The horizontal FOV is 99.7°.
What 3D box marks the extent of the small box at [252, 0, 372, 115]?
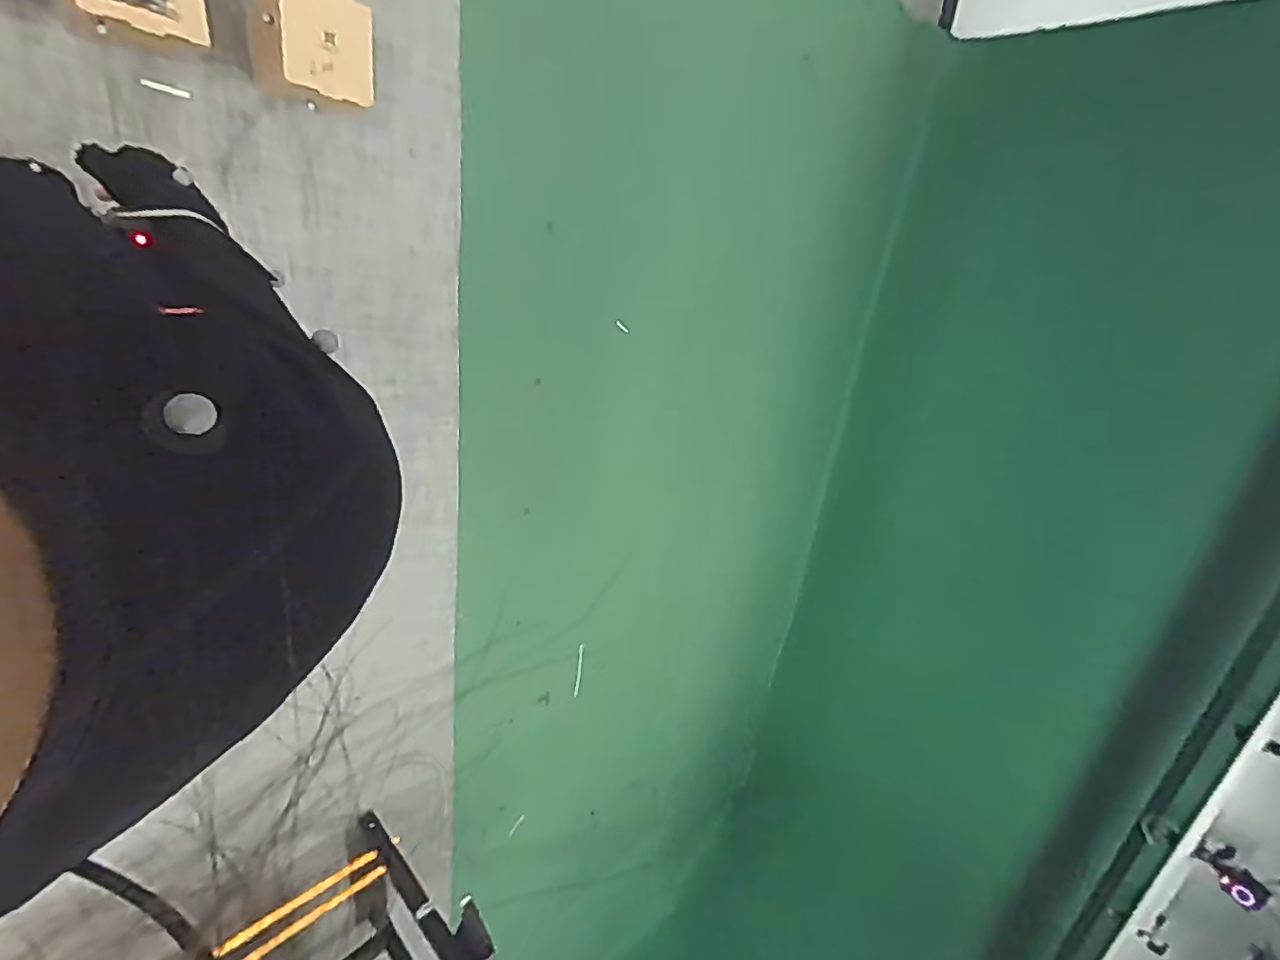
[{"bbox_3d":[-0.666,-0.873,1.100,0.168,0.176,0.179,-13,118,-46],"label":"small box"}]
